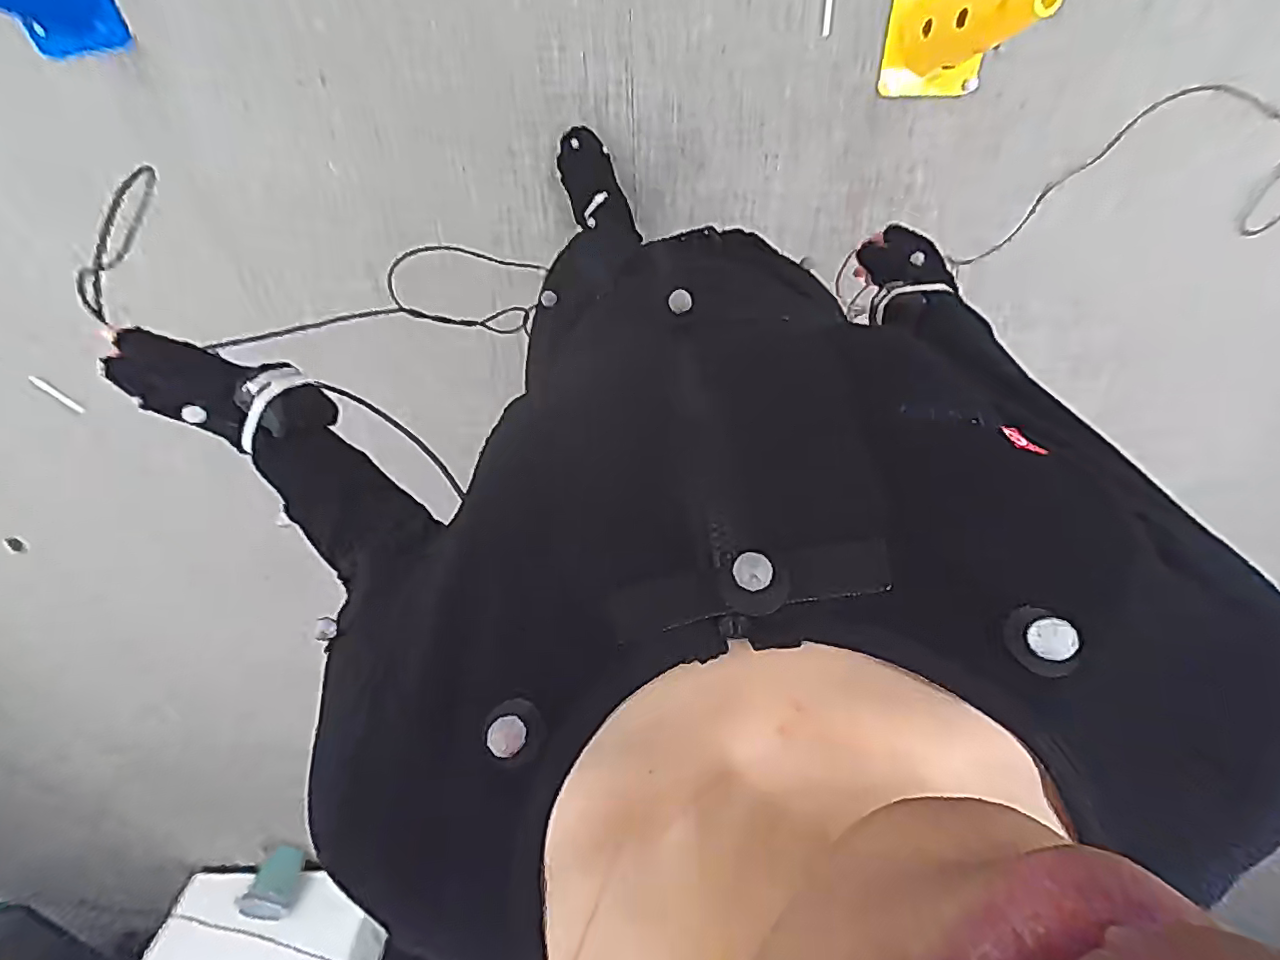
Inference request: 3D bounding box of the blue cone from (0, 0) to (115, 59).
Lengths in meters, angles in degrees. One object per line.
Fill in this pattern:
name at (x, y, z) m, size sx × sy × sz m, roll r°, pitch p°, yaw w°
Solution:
blue cone at (-1.135, -0.846, 0.898) m, size 0.193 × 0.380 × 0.192 m, roll -5°, pitch 122°, yaw 4°
